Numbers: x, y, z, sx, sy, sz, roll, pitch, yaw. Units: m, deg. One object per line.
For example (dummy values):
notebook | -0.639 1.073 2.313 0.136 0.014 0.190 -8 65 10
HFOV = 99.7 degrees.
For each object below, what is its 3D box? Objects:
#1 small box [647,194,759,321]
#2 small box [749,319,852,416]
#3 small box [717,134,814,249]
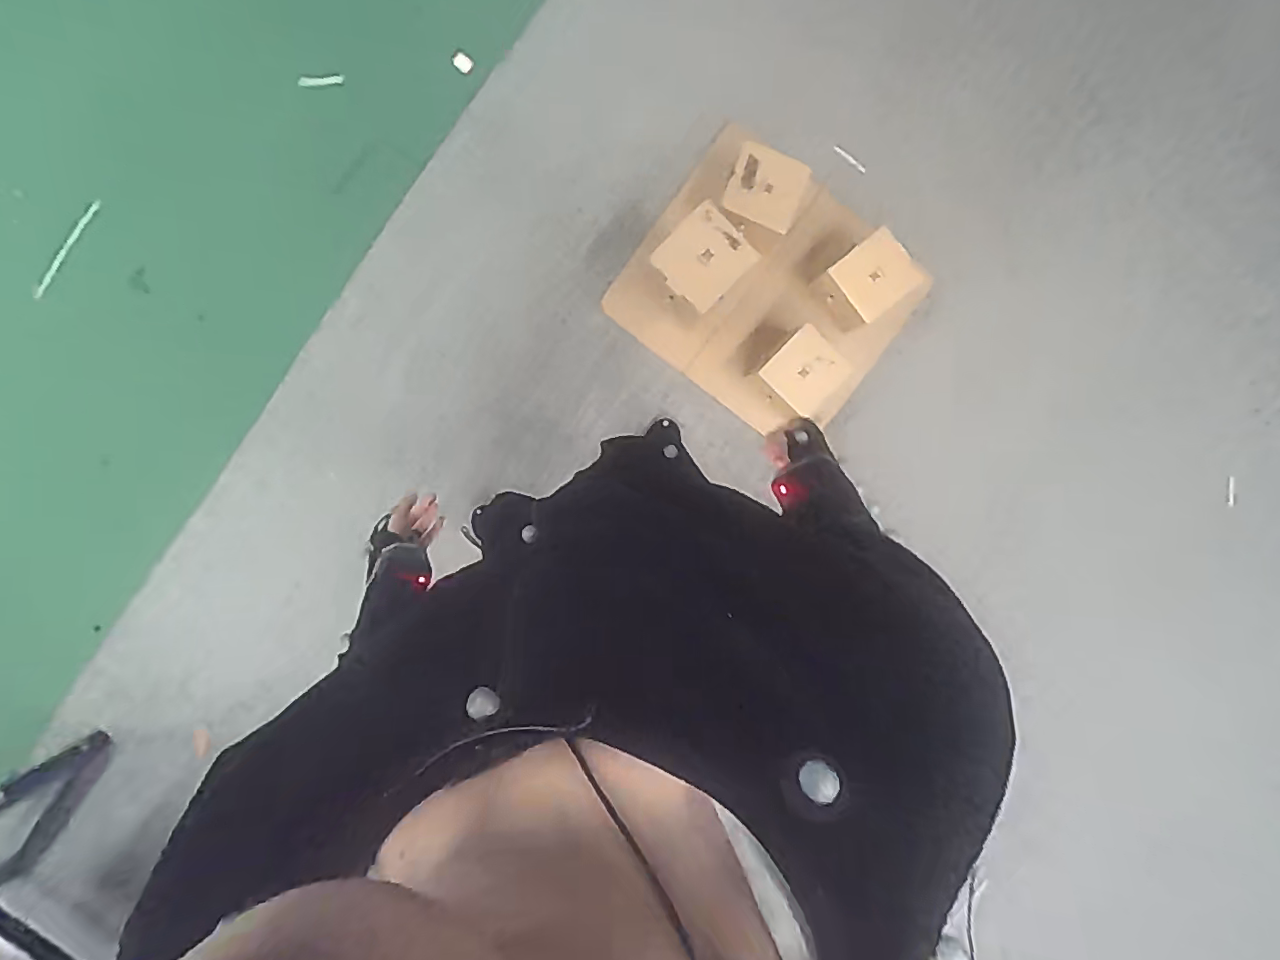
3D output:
small box | 0.131 -0.477 1.194 0.179 0.176 0.168 -44 96 4
small box | 0.396 -0.277 1.378 0.168 0.176 0.179 44 93 -5
small box | 0.293 -0.701 1.338 0.179 0.176 0.168 23 95 -4
